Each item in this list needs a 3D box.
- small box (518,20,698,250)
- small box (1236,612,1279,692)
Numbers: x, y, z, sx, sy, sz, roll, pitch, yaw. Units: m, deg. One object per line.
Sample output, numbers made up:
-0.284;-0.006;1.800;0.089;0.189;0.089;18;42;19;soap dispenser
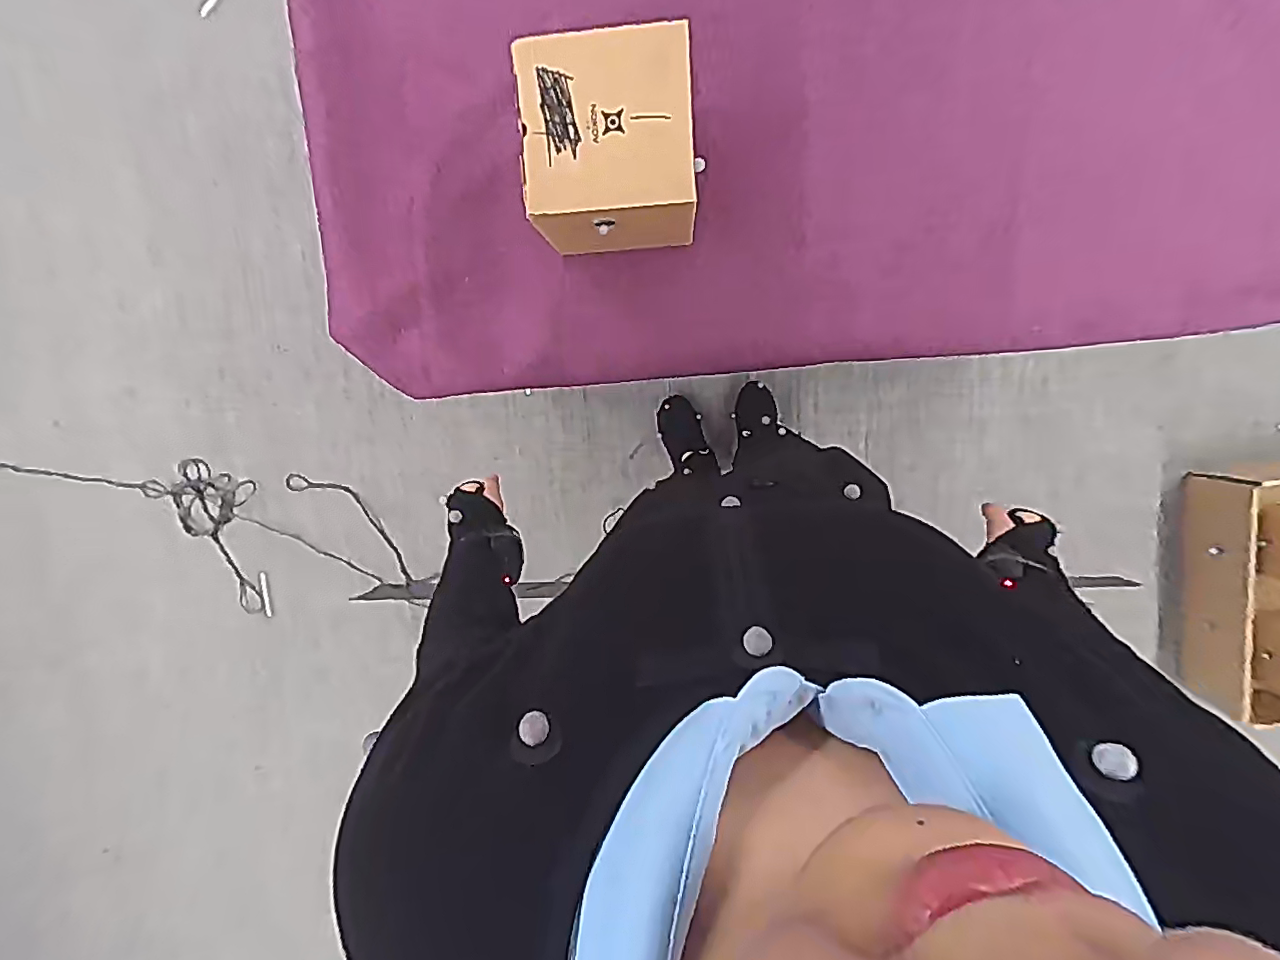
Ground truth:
-0.025;-0.371;0.616;0.179;0.176;0.168;-3;100;4;small box
1.626;0.429;1.317;0.179;0.176;0.168;-6;99;5;small box
